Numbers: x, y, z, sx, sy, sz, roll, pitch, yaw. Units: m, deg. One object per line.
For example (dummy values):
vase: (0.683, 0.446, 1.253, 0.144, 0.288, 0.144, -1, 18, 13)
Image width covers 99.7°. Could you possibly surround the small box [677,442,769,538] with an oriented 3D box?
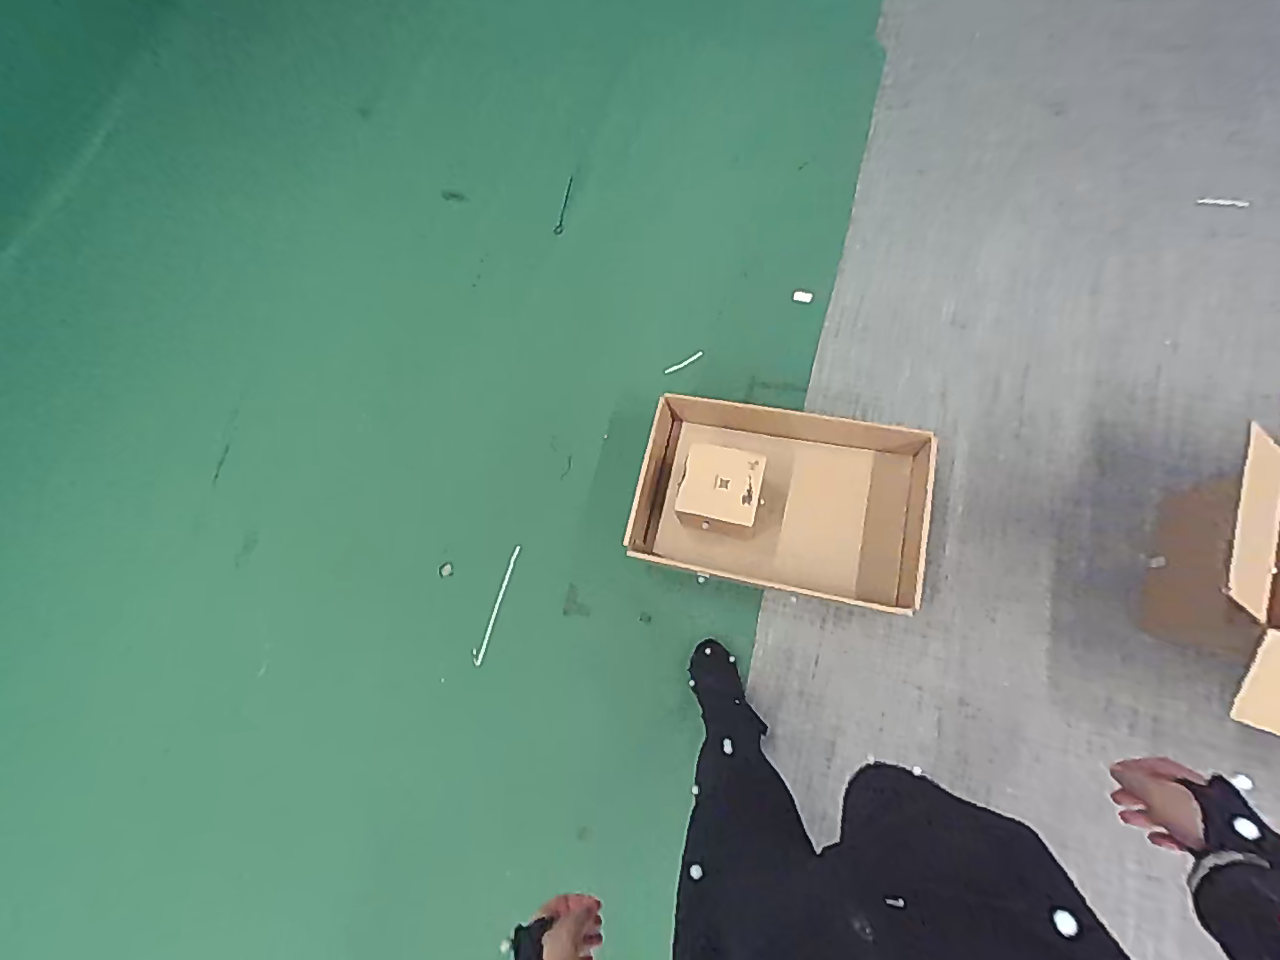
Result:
small box: (0.196, 0.028, 1.260, 0.179, 0.176, 0.168, 11, 75, 14)
